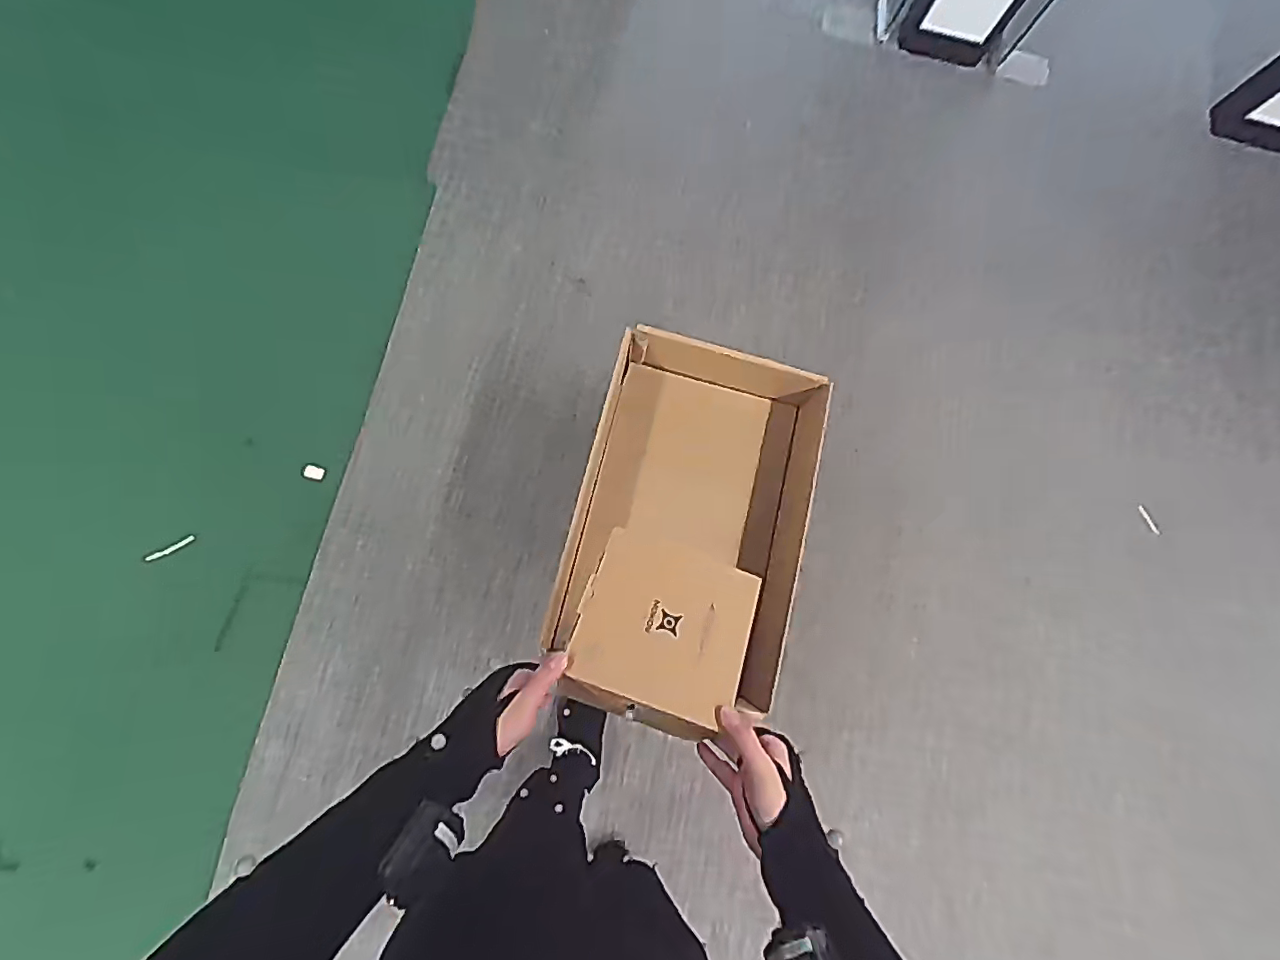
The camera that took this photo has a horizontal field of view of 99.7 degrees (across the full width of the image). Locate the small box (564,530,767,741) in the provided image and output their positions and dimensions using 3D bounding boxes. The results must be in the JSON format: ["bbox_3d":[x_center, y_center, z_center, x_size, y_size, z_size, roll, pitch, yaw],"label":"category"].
[{"bbox_3d":[0.022,0.188,0.625,0.179,0.176,0.168,21,60,2],"label":"small box"}]
